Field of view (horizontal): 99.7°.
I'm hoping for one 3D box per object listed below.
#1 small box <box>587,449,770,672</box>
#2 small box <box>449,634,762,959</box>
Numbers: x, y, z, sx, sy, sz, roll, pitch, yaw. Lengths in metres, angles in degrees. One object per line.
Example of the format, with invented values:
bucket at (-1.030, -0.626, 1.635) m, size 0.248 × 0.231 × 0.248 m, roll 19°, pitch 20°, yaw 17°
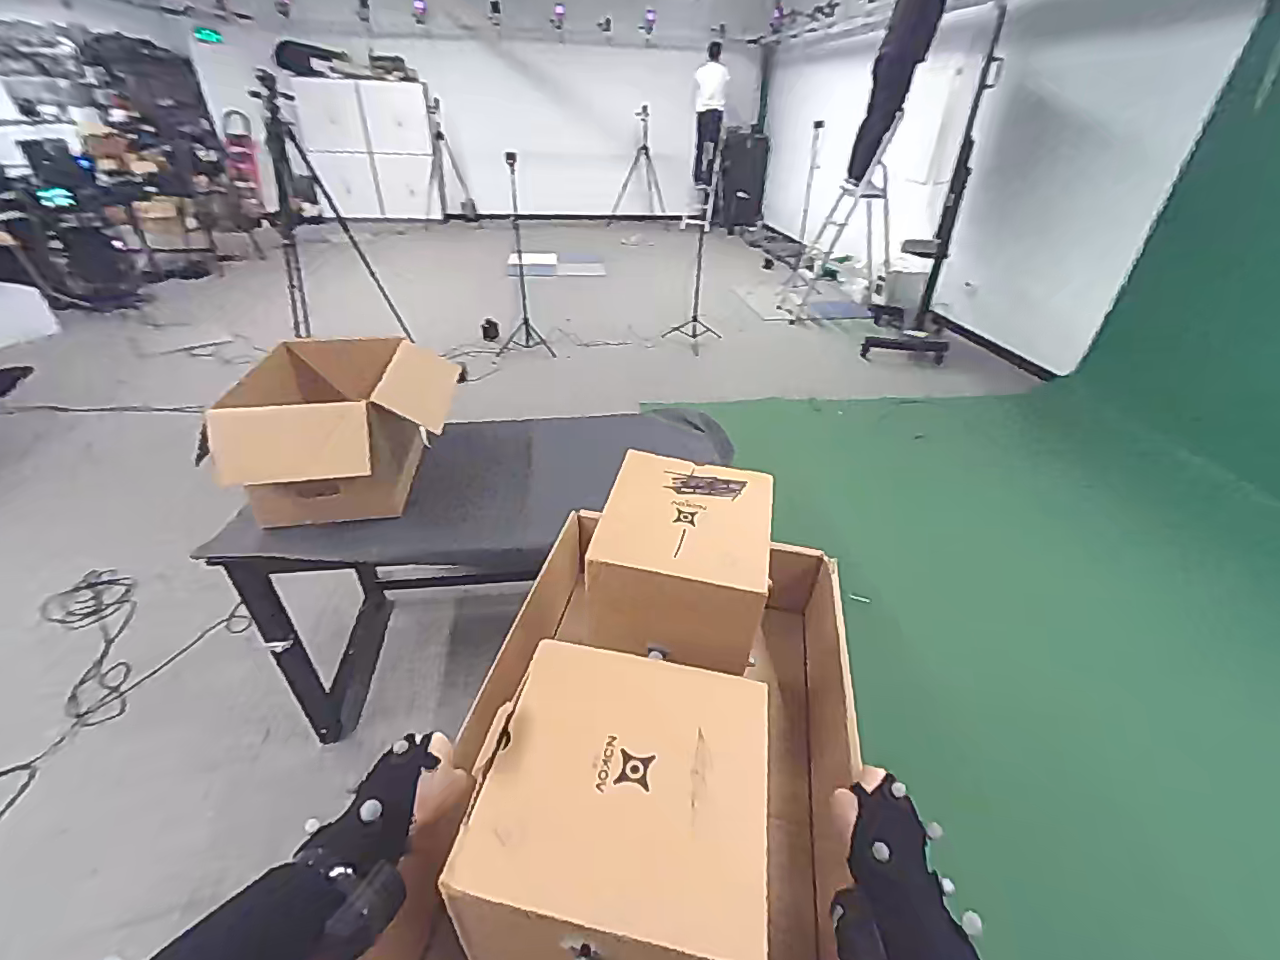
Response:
small box at (0.041, 0.094, 0.598) m, size 0.168 × 0.176 × 0.179 m, roll 11°, pitch 40°, yaw 8°
small box at (-0.014, 0.246, 0.401) m, size 0.179 × 0.176 × 0.168 m, roll 10°, pitch 38°, yaw 6°
